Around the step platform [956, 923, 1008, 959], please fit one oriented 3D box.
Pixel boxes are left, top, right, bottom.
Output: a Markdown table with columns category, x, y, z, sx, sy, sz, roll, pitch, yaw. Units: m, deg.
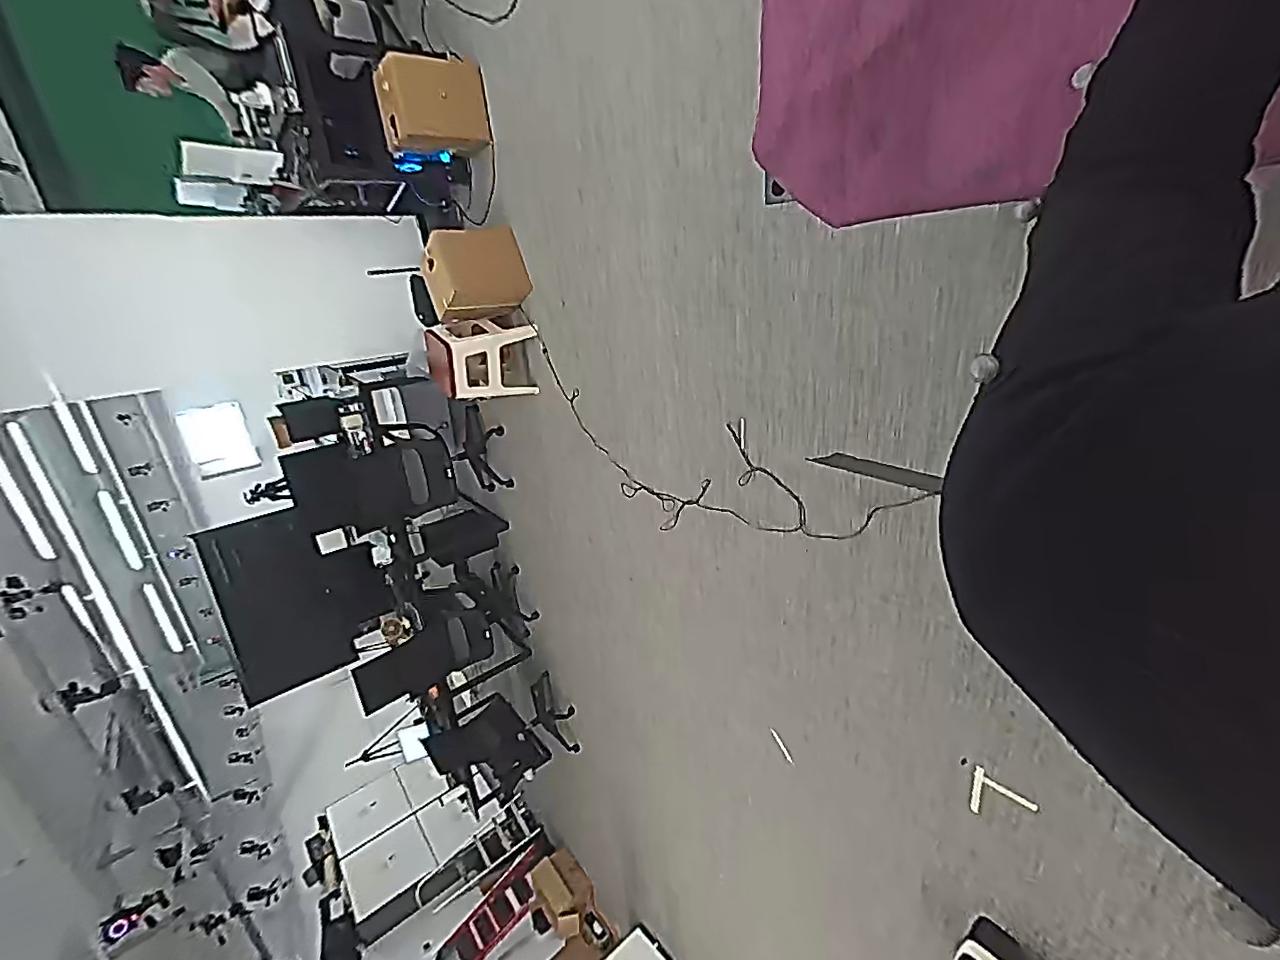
| category | x | y | z | sx | sy | sz | roll | pitch | yaw |
| --- | --- | --- | --- | --- | --- | --- | --- | --- | --- |
| step platform | 1.222 | 1.631 | 1.475 | 0.684 | 0.204 | 0.286 | 21 | 124 | 47 |
